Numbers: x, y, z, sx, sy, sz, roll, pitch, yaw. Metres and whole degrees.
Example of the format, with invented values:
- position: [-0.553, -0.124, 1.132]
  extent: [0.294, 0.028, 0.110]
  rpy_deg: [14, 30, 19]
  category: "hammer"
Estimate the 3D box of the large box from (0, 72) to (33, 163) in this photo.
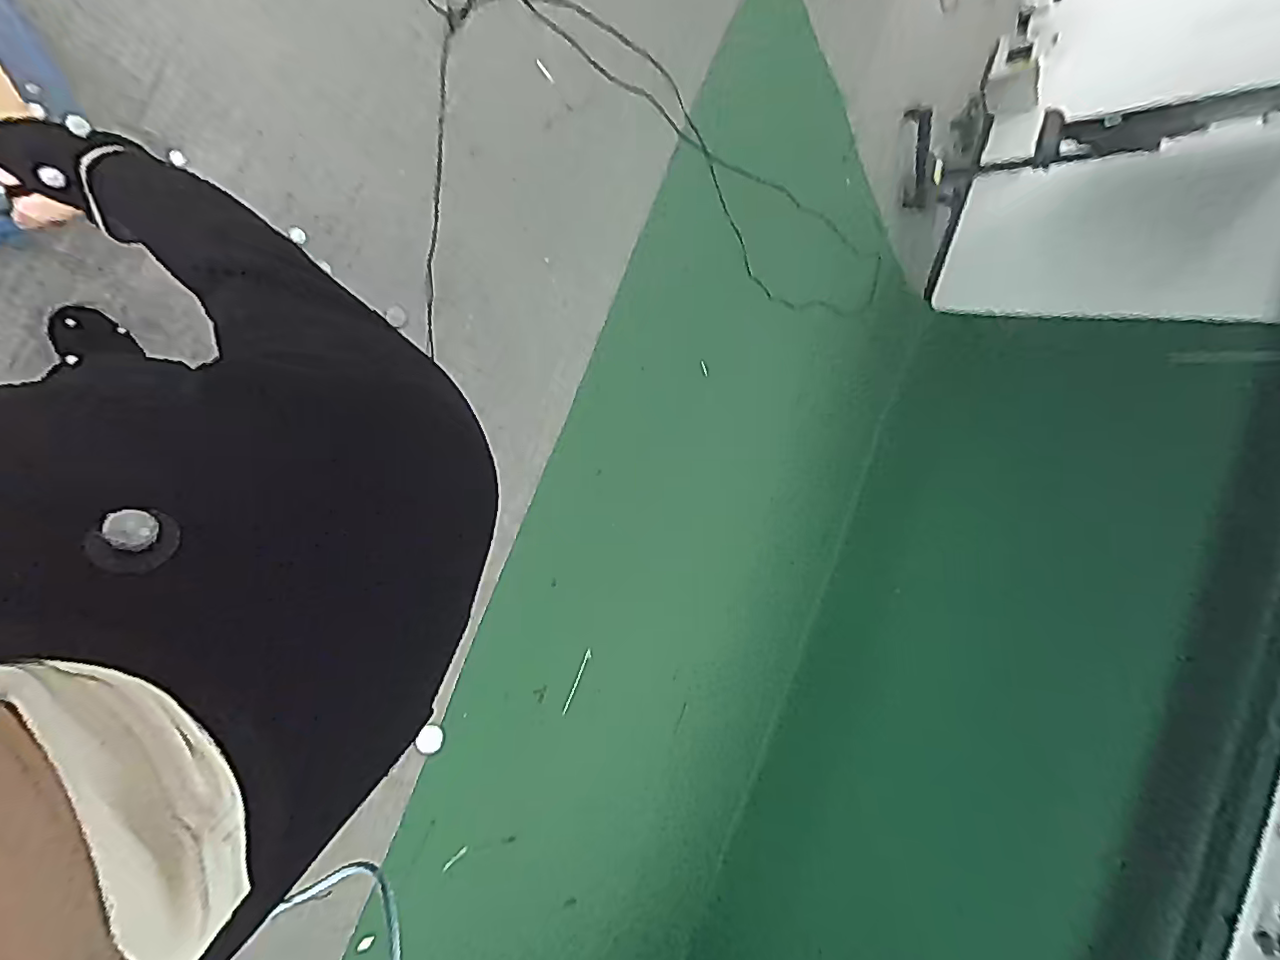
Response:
- position: [-1.075, -0.599, 0.643]
  extent: [0.320, 0.320, 0.408]
  rpy_deg: [-39, 128, -34]
  category: "large box"
